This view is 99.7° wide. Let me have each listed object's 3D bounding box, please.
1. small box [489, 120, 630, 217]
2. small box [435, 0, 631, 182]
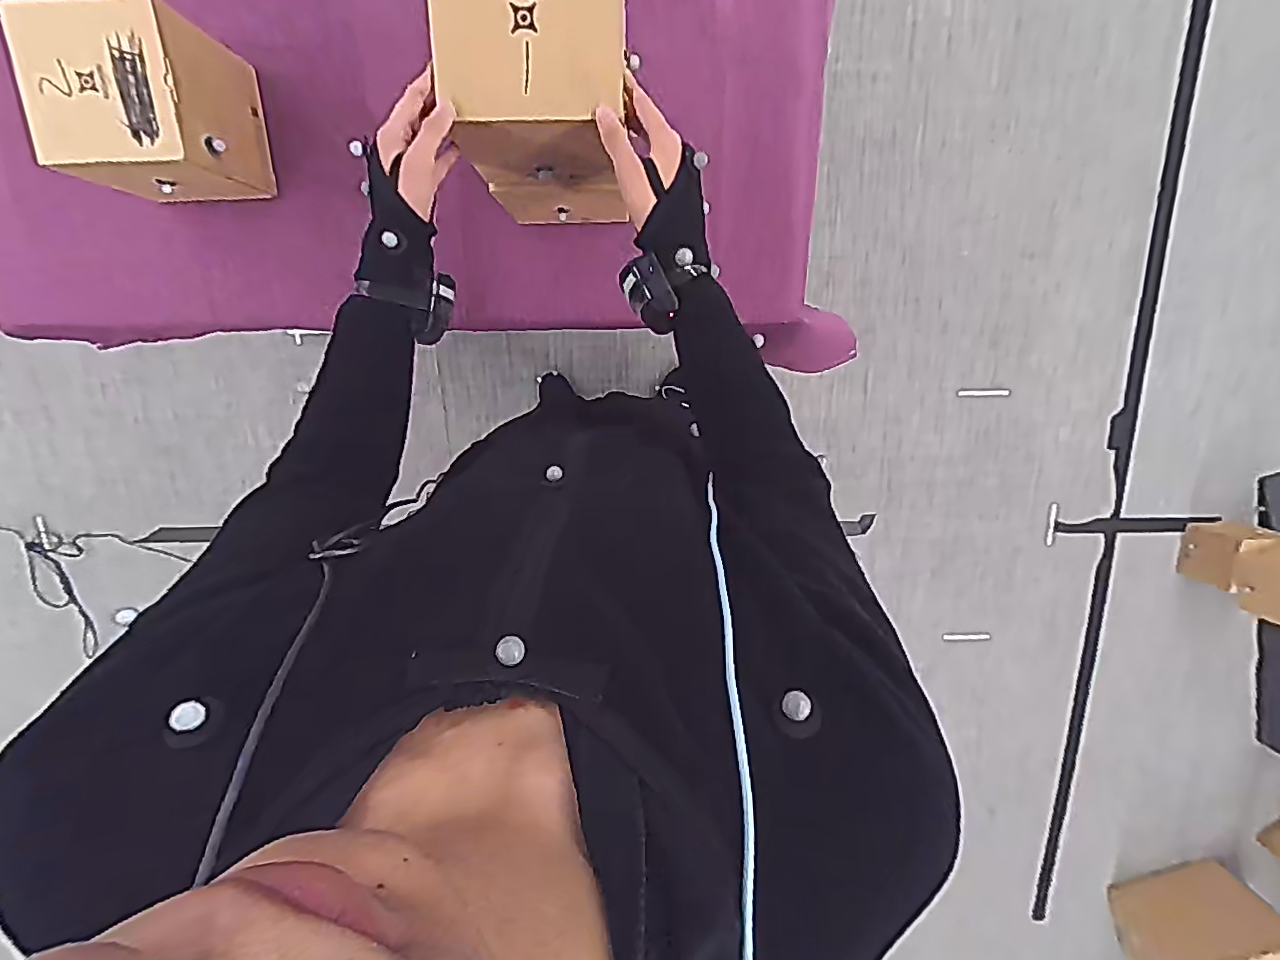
[{"bbox_3d":[-0.097,-0.450,0.702,0.168,0.176,0.179,-1,104,-1],"label":"small box"},{"bbox_3d":[-0.094,-0.420,0.540,0.168,0.176,0.179,0,104,0],"label":"small box"}]
